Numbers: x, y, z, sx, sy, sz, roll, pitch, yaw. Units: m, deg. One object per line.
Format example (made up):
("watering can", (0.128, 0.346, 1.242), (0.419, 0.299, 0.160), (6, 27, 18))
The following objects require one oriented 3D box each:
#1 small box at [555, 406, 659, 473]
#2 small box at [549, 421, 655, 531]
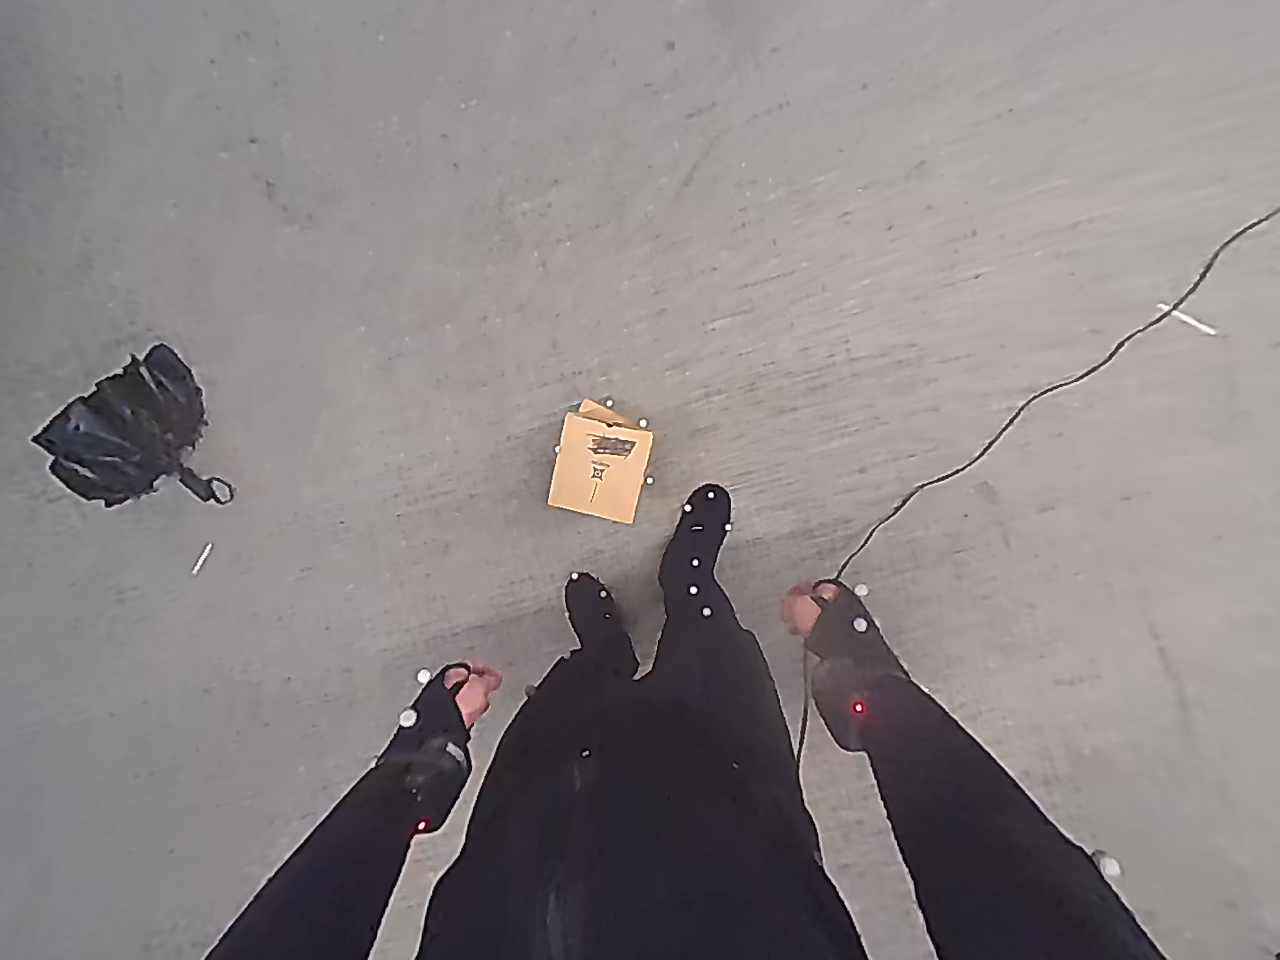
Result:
("small box", (-0.069, -0.057, 1.234), (0.179, 0.176, 0.168), (25, 98, 0))
("small box", (-0.067, -0.016, 1.073), (0.168, 0.176, 0.179), (13, 98, 3))
